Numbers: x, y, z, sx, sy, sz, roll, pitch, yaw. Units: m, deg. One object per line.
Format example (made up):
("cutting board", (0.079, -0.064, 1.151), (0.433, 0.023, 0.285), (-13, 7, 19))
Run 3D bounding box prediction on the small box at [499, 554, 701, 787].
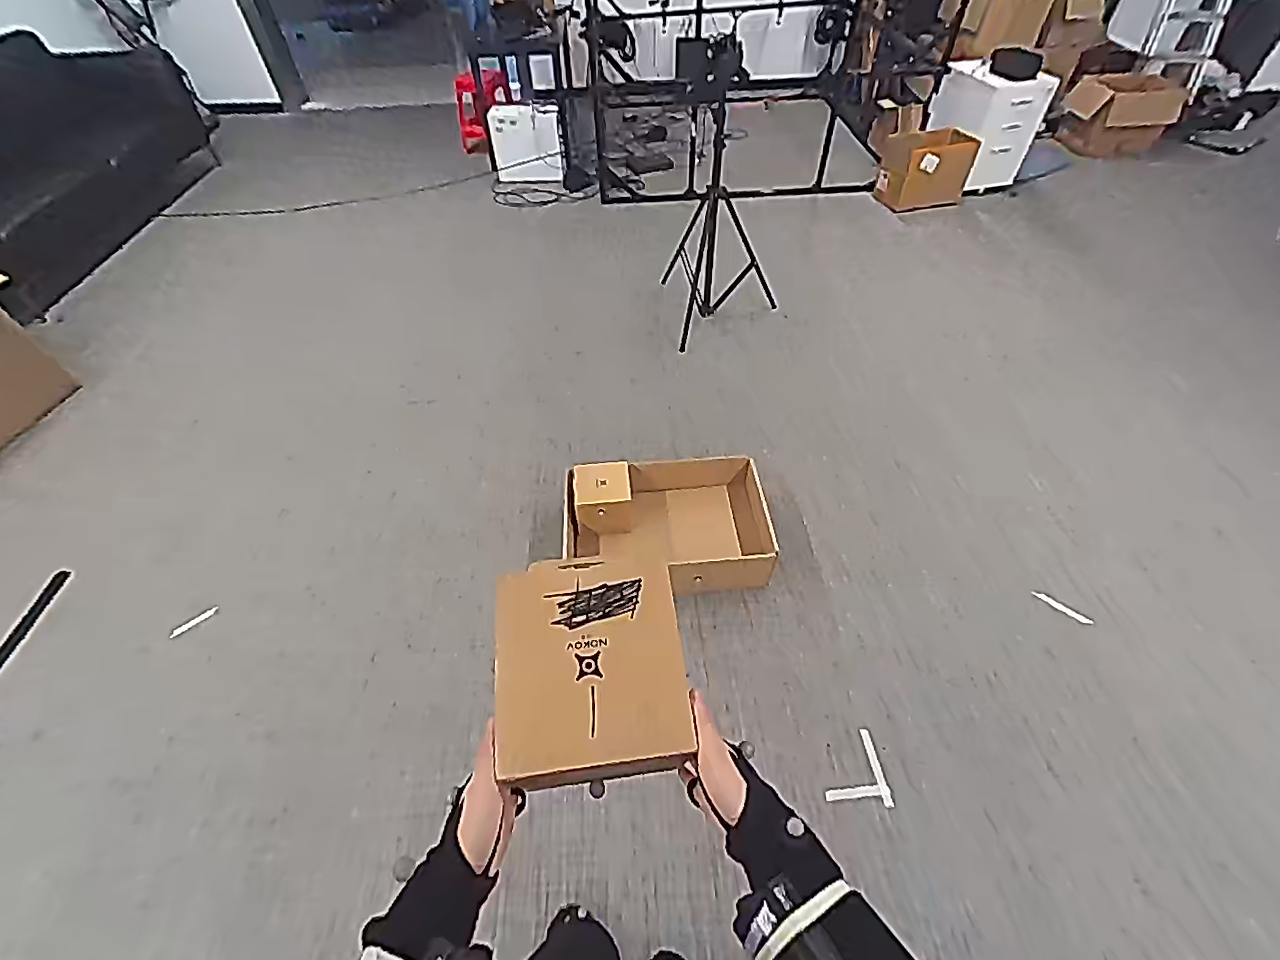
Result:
("small box", (-0.043, 0.195, 0.543), (0.168, 0.176, 0.179), (-6, 58, -5))
